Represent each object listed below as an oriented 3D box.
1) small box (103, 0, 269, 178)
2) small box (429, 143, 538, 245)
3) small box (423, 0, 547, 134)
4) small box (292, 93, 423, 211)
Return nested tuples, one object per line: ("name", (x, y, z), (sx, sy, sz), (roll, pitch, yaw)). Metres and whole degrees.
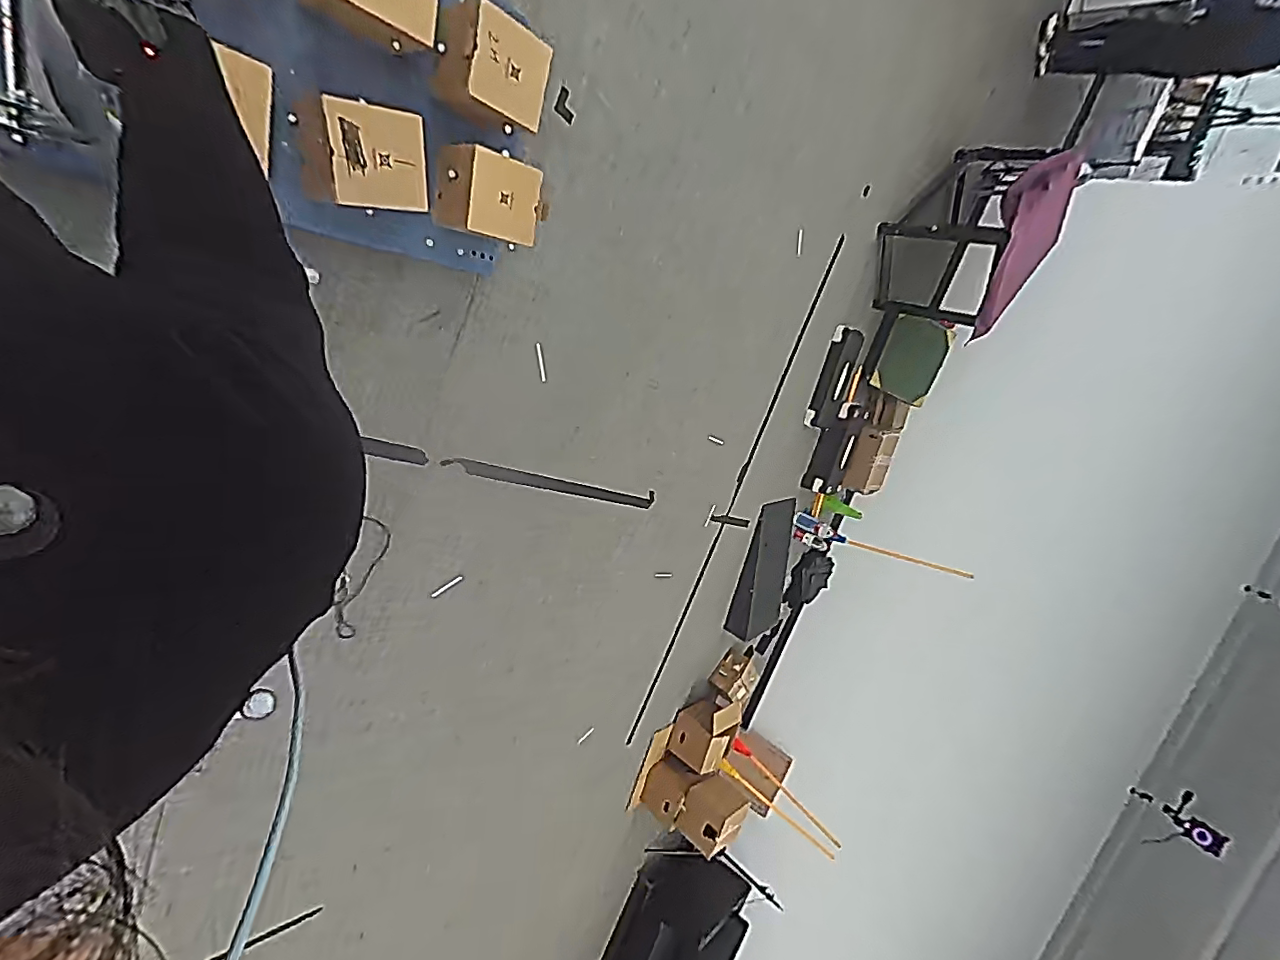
("small box", (-0.716, -0.595, 0.850), (0.179, 0.176, 0.168), (-5, 115, -50))
("small box", (-0.365, -0.653, 1.244), (0.179, 0.176, 0.168), (-9, 118, -48))
("small box", (-0.332, -0.866, 1.151), (0.179, 0.176, 0.168), (-2, 112, -49))
("small box", (-0.545, -0.622, 1.042), (0.179, 0.176, 0.168), (-21, 127, -44))
